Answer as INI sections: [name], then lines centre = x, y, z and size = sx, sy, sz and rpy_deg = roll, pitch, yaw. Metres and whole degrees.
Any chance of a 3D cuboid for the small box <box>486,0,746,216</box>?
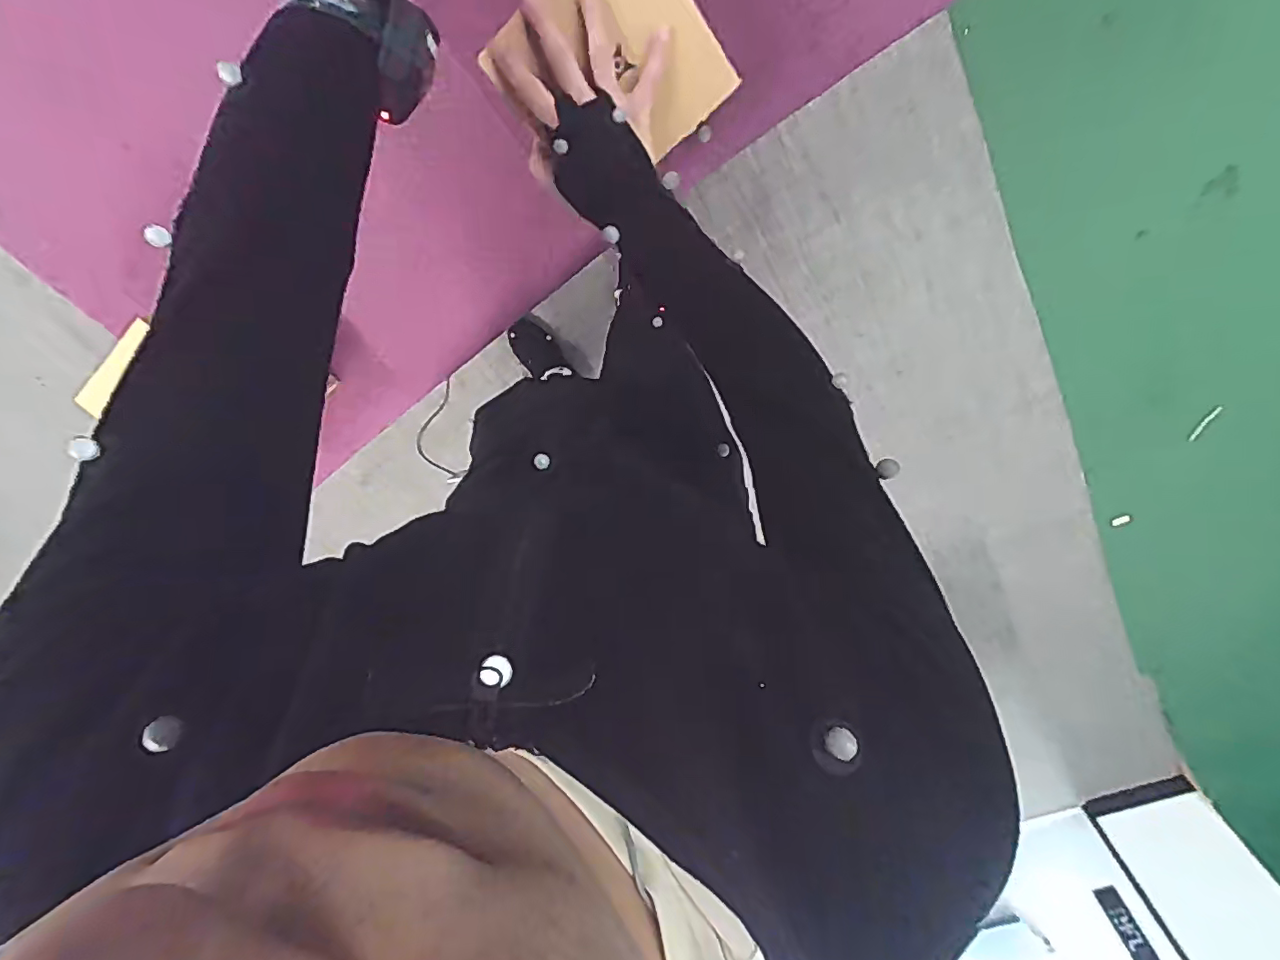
[small box]
centre = -0.021, -0.401, 0.545
size = 0.179, 0.176, 0.168
rpy_deg = -34, 114, 19
